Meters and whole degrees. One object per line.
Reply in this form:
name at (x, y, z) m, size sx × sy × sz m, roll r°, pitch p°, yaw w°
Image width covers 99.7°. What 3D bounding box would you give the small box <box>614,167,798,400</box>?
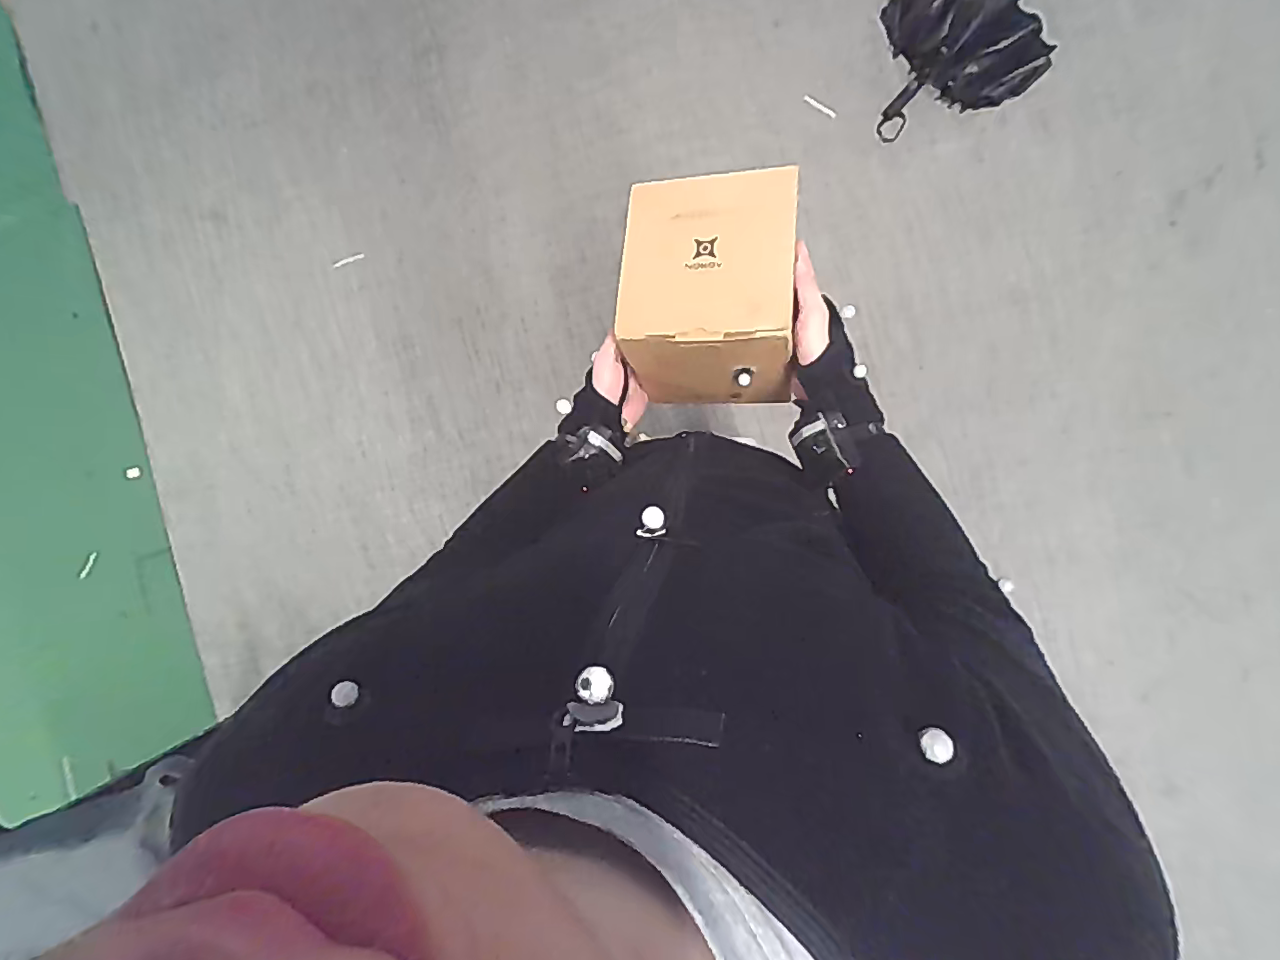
small box at (0.081, -0.196, 0.586) m, size 0.168 × 0.176 × 0.179 m, roll 2°, pitch 75°, yaw 14°
